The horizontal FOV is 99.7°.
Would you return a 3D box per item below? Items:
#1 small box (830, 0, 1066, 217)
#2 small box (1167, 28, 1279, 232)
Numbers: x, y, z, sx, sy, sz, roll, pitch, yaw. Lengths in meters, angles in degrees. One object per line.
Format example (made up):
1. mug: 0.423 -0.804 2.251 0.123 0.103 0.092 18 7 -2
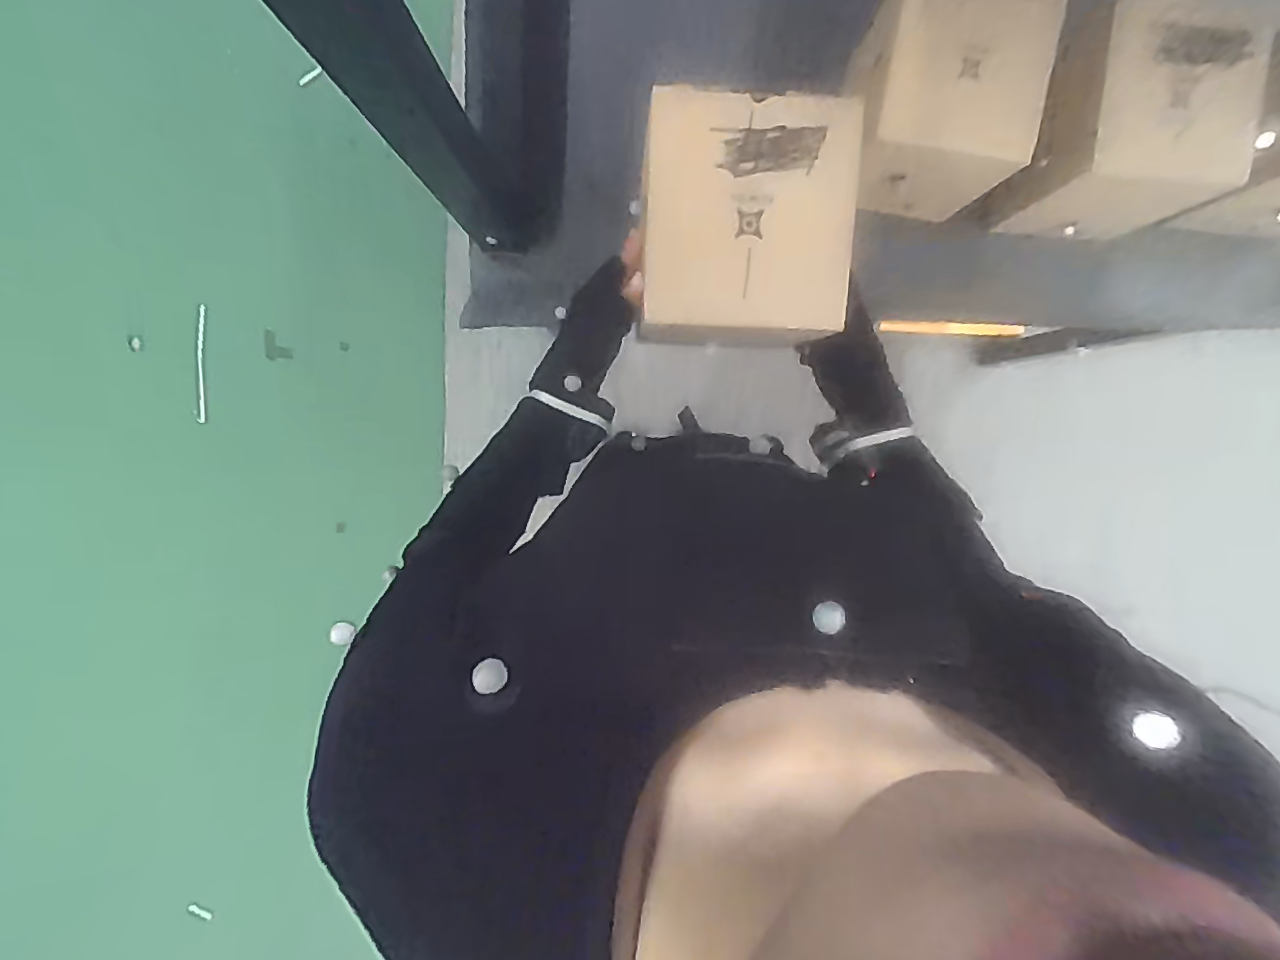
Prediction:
1. small box: 0.339 -0.434 0.632 0.168 0.176 0.179 9 95 0
2. small box: 0.779 -0.410 0.629 0.168 0.176 0.179 6 95 0
